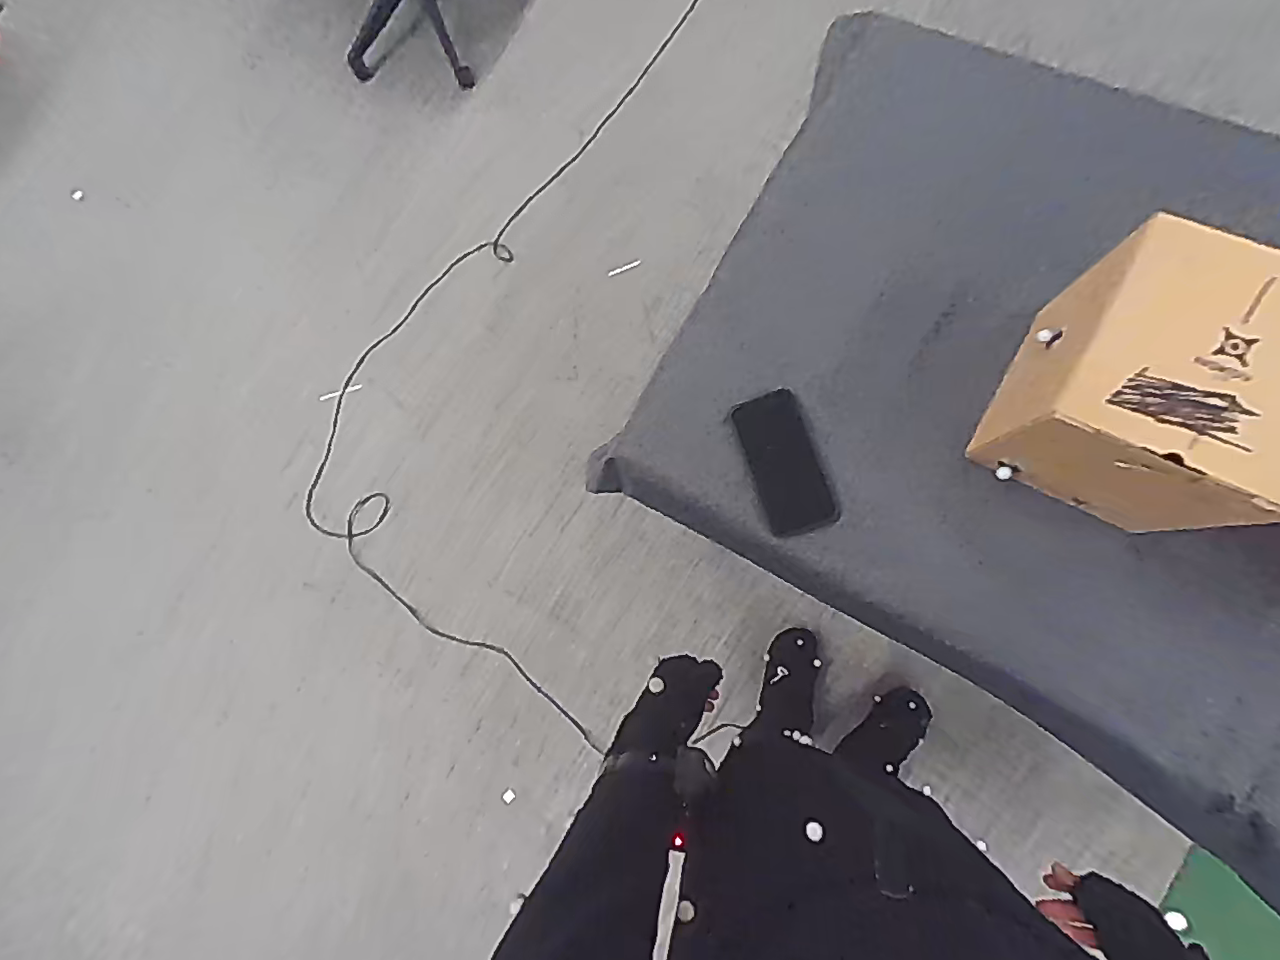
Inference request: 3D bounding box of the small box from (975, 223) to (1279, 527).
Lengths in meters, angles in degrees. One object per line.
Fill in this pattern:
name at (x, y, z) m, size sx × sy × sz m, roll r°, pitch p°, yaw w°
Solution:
small box at (0.428, -0.072, 0.466) m, size 0.168 × 0.176 × 0.179 m, roll 29°, pitch 87°, yaw 13°
